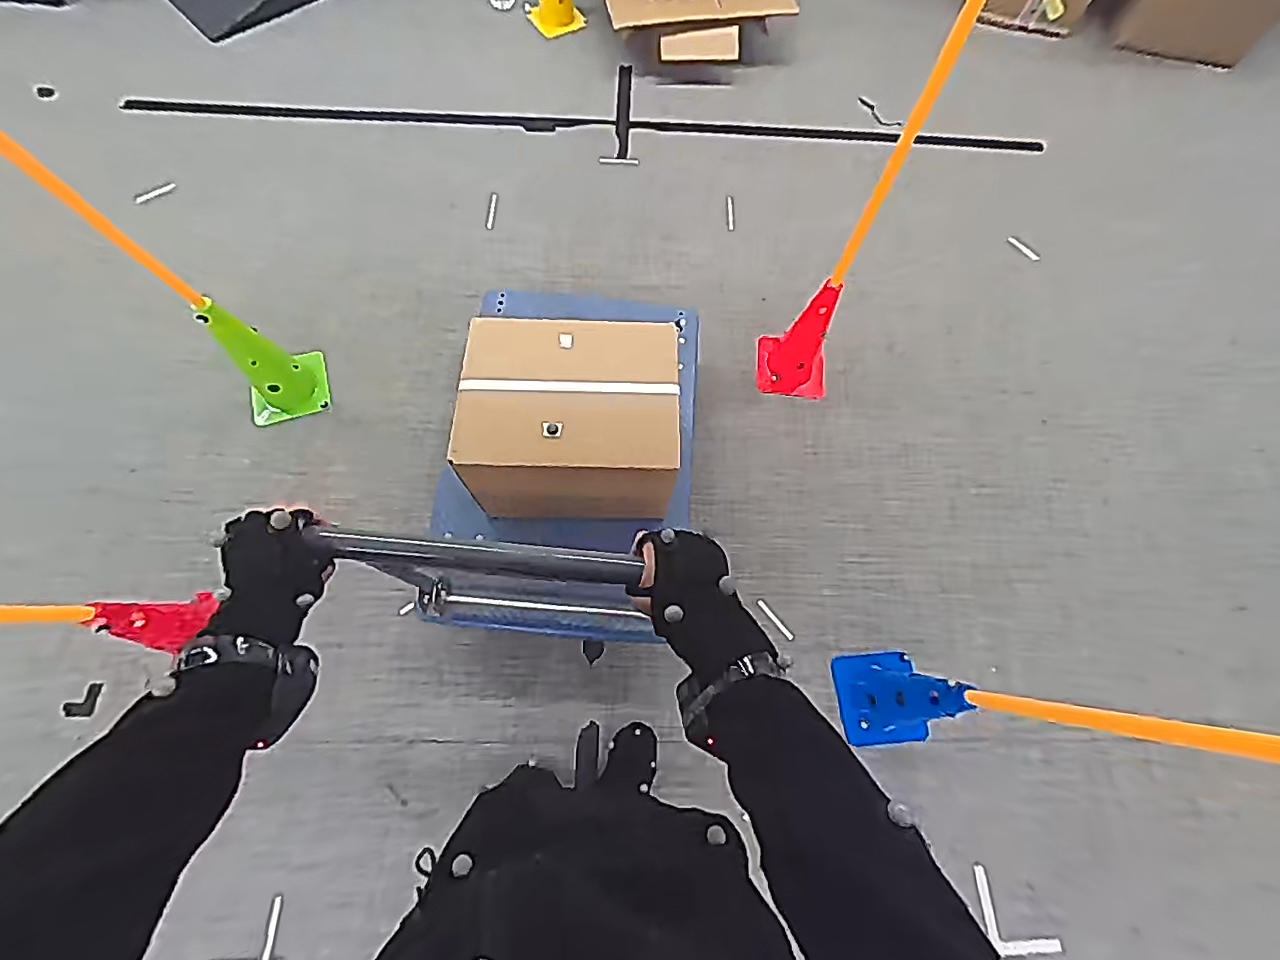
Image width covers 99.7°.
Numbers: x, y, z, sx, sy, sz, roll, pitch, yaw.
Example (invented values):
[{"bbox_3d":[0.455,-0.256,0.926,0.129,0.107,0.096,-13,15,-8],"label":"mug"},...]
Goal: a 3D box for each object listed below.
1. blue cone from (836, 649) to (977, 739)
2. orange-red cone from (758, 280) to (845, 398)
[{"bbox_3d":[0.583,0.443,1.137,0.193,0.380,0.192,-2,67,-4],"label":"blue cone"},{"bbox_3d":[0.466,-0.402,1.456,0.199,0.360,0.198,8,69,-1],"label":"orange-red cone"}]
